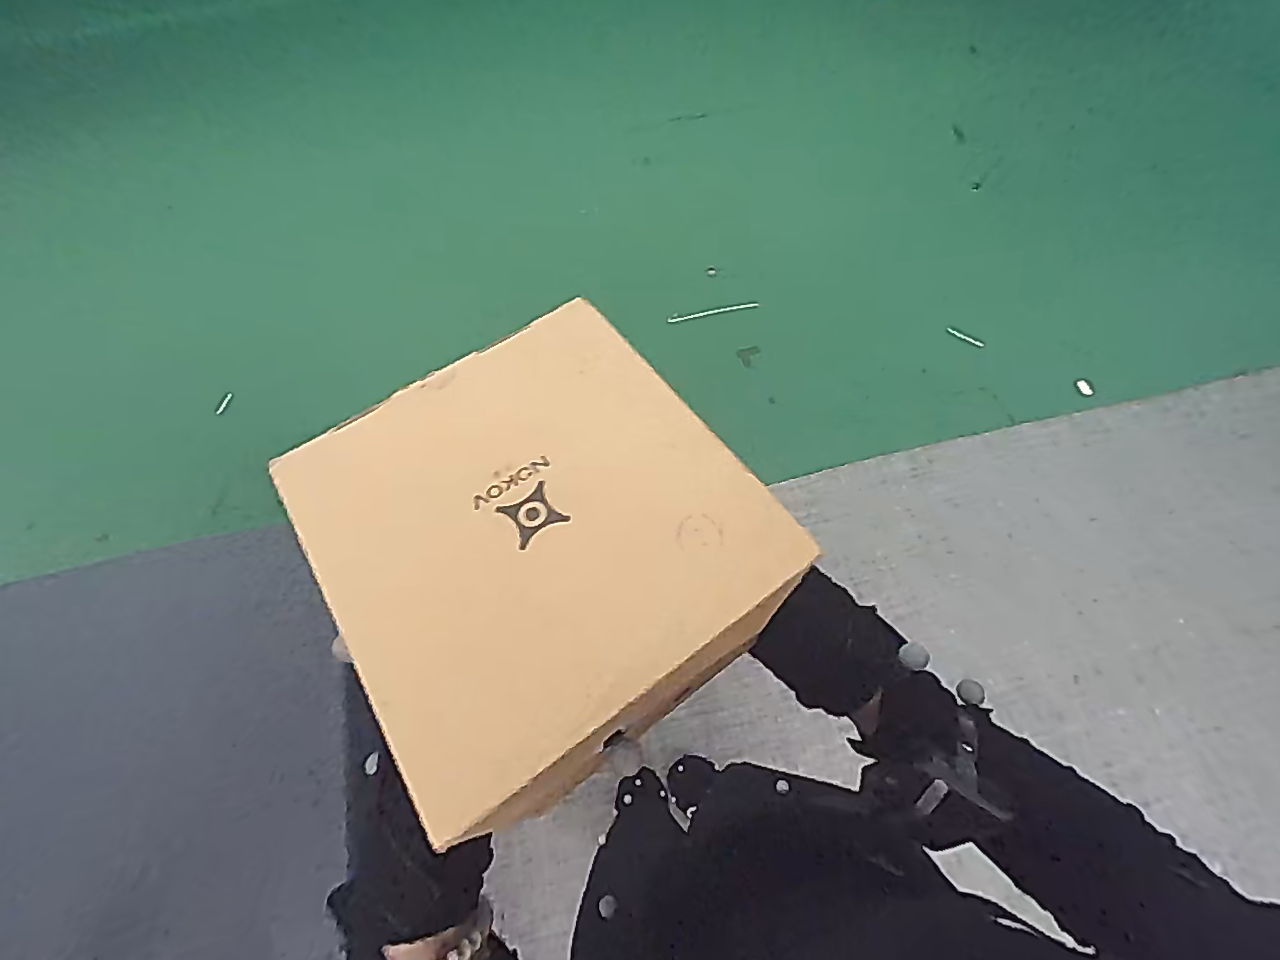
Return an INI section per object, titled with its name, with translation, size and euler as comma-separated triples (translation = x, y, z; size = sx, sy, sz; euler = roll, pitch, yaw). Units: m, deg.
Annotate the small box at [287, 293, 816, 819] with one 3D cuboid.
[small box]
translation = -0.040, 0.043, 0.295
size = 0.168, 0.176, 0.179
euler = -32, 64, -14
